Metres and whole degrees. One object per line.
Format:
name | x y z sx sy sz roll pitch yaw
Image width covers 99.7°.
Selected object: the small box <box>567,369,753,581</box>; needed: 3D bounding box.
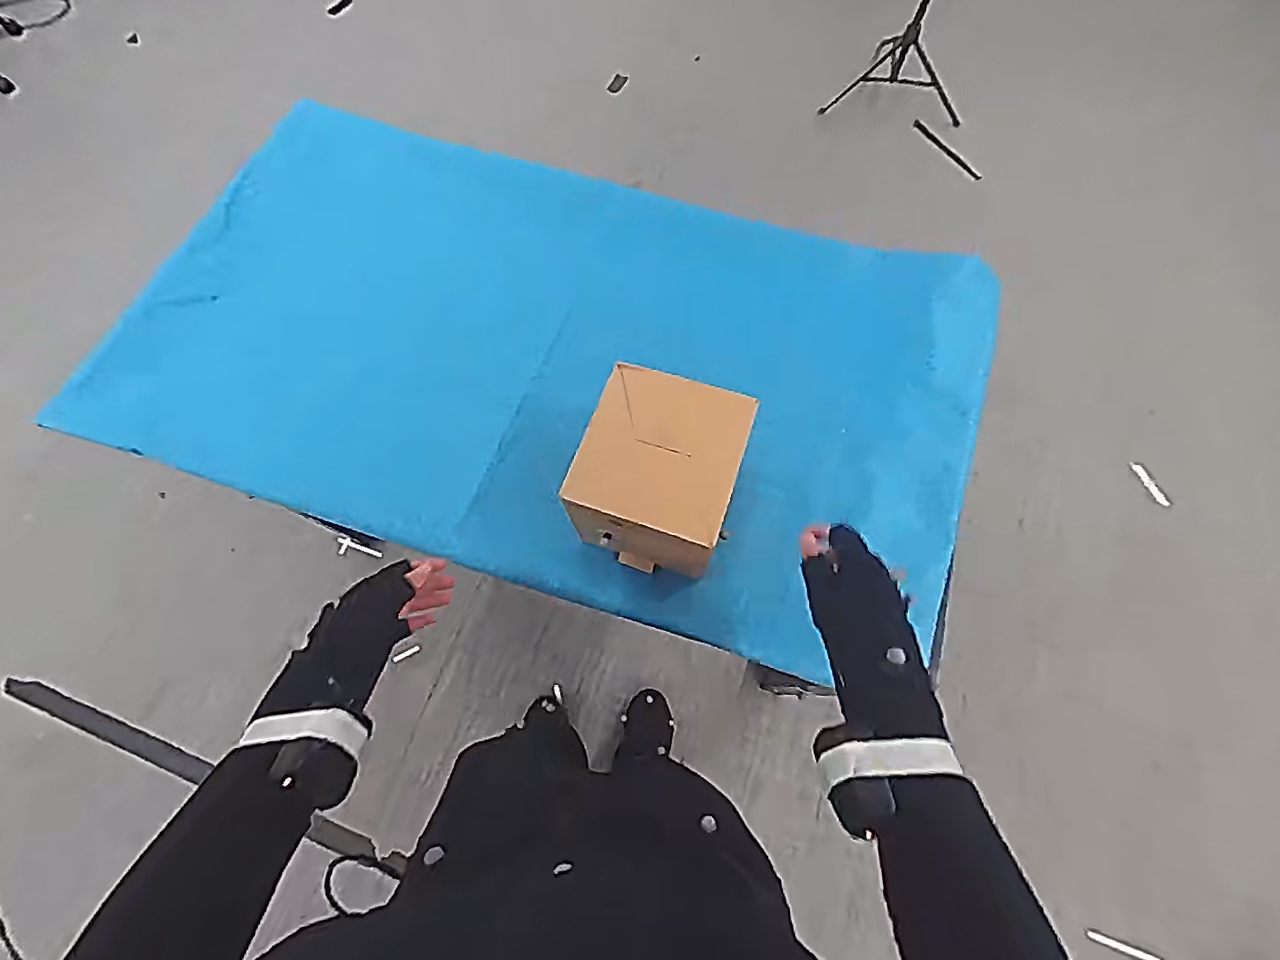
small box | 0.024 -0.001 0.643 0.168 0.176 0.179 18 70 8
